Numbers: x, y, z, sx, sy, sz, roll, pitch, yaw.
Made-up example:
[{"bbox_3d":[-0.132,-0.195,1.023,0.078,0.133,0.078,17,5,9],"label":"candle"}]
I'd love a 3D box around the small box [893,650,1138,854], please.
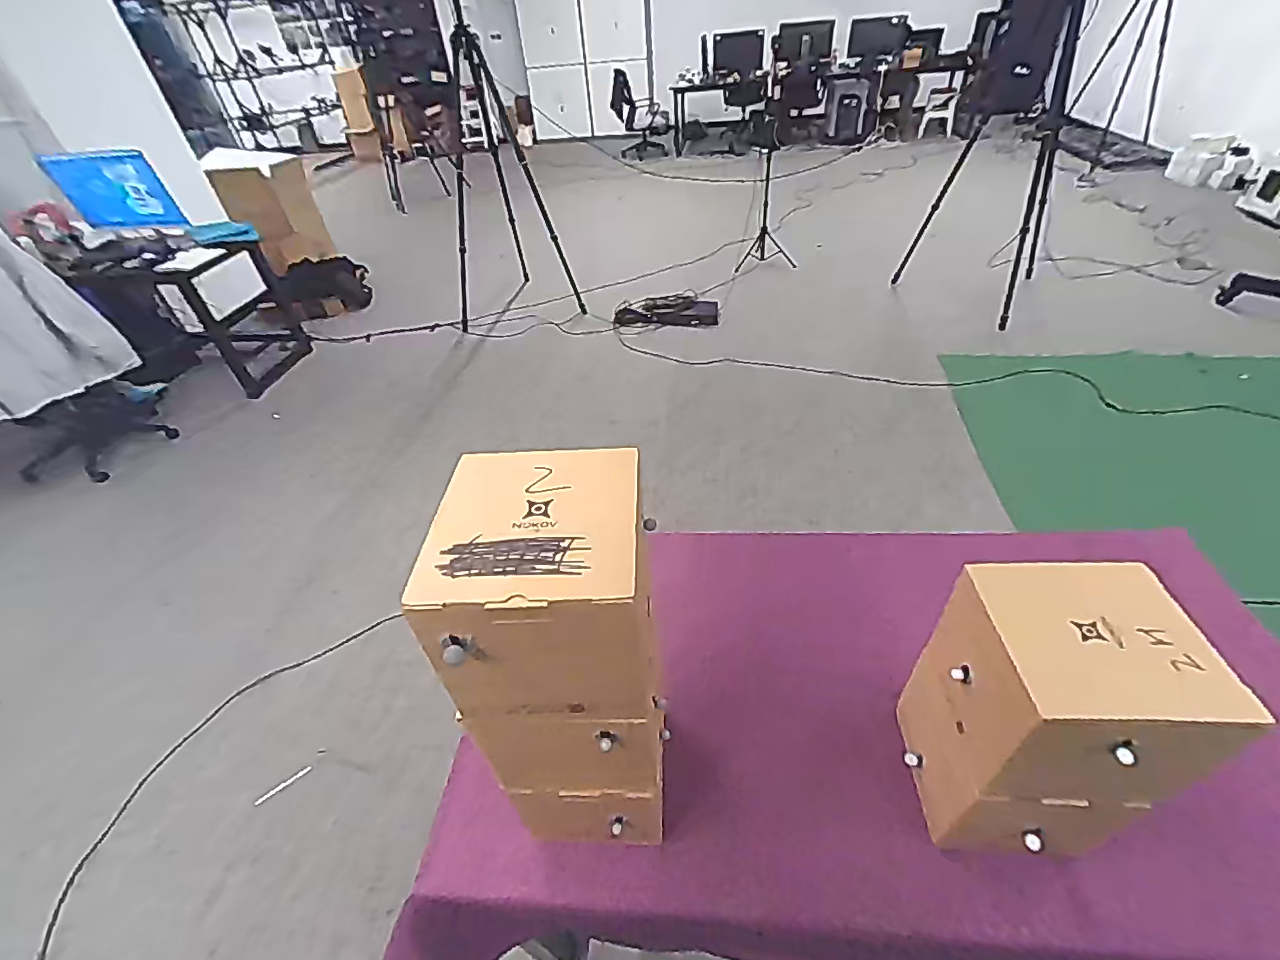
[{"bbox_3d":[0.430,0.331,0.659,0.168,0.176,0.179,0,42,6],"label":"small box"}]

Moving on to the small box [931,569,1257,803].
[{"bbox_3d":[0.420,0.208,0.549,0.179,0.176,0.168,0,41,6],"label":"small box"}]

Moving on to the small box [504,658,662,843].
[{"bbox_3d":[-0.059,0.345,0.698,0.168,0.176,0.179,0,40,4],"label":"small box"}]

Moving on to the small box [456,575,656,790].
[{"bbox_3d":[-0.074,0.222,0.593,0.179,0.176,0.168,-1,41,3],"label":"small box"}]
